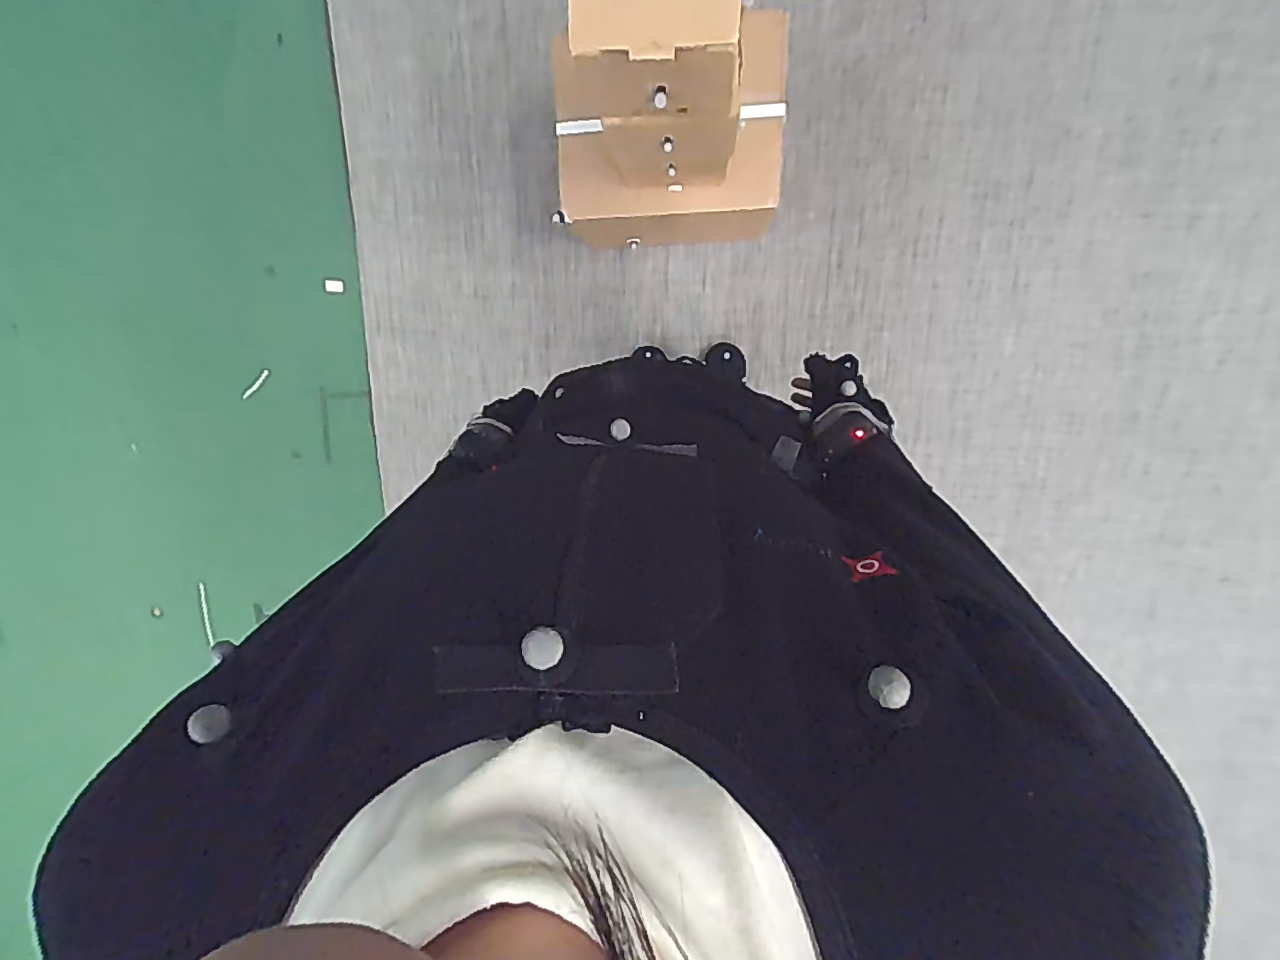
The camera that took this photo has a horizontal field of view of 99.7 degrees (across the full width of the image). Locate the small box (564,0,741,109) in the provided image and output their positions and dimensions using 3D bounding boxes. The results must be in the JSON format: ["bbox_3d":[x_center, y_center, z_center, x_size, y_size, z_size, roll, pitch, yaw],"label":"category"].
[{"bbox_3d":[0.023,-0.514,0.568,0.168,0.176,0.179,4,107,7],"label":"small box"}]

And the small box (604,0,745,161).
[{"bbox_3d":[0.045,-0.548,0.727,0.179,0.176,0.168,-2,106,7],"label":"small box"}]

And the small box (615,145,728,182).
[{"bbox_3d":[0.058,-0.598,0.882,0.179,0.176,0.168,2,106,6],"label":"small box"}]
